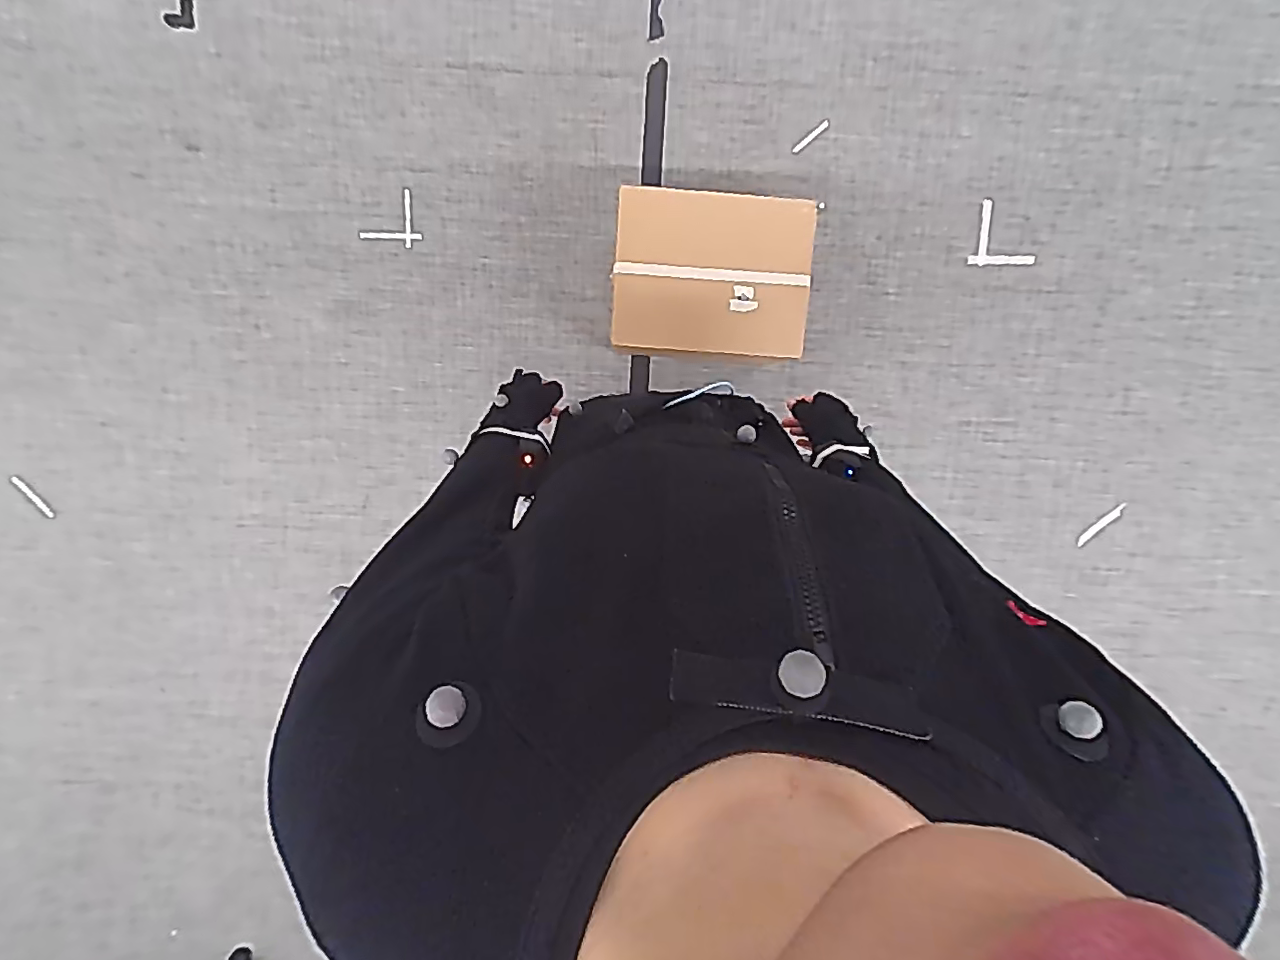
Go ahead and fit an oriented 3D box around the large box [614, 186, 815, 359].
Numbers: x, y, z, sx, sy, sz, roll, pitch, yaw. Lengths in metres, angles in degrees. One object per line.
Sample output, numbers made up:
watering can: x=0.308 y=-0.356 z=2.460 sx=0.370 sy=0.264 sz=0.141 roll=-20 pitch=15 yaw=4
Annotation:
large box: x=0.145 y=-0.458 z=1.269 sx=0.408 sy=0.320 sz=0.320 roll=4 pitch=101 yaw=-3
